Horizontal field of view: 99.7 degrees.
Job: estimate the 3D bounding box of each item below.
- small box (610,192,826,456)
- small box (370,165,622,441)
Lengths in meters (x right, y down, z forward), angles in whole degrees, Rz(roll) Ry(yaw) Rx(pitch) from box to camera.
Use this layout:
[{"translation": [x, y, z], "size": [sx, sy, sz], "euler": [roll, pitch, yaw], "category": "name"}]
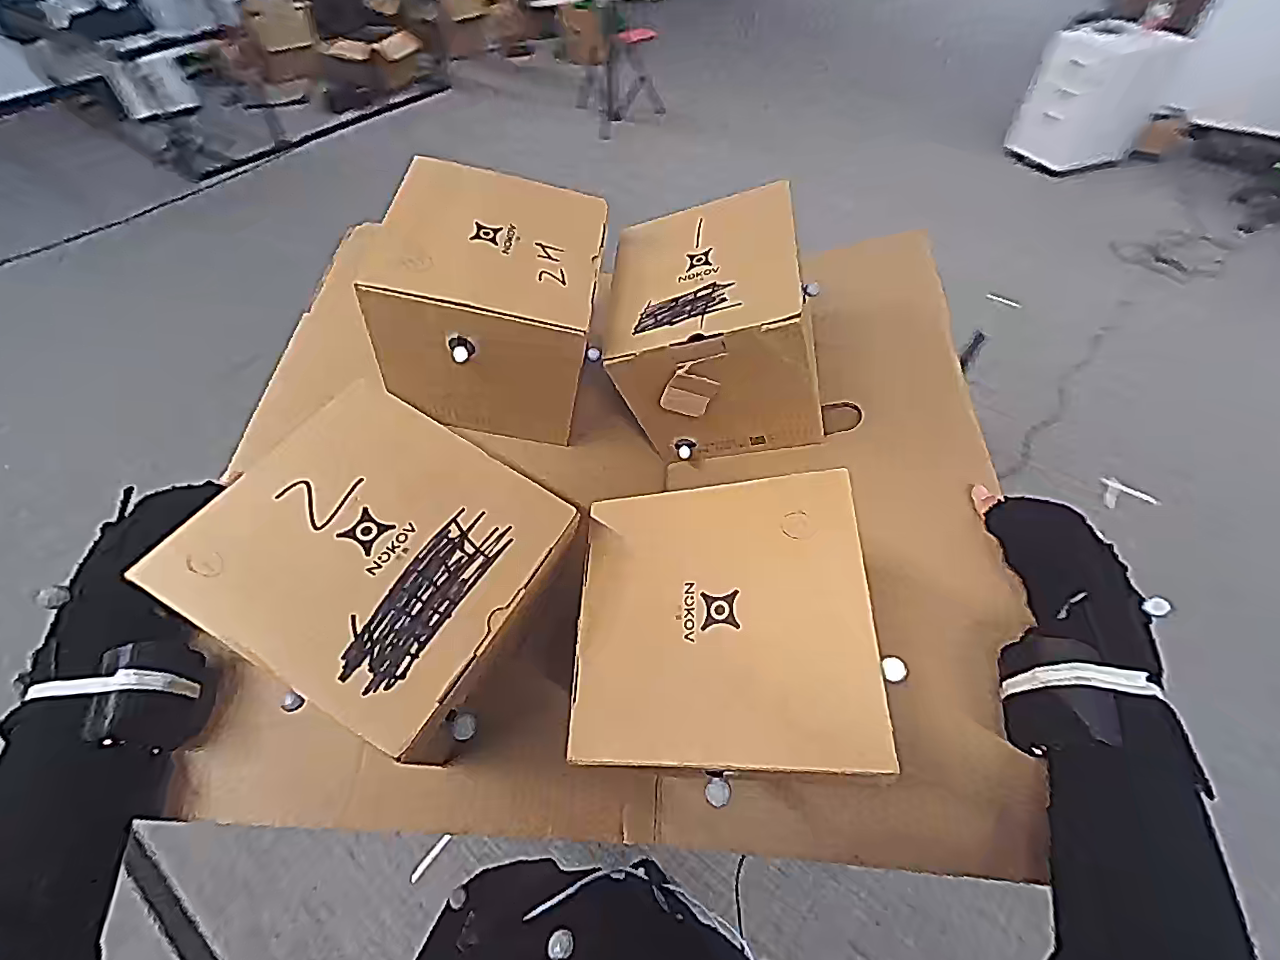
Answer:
[{"translation": [0.087, -0.136, 0.533], "size": [0.168, 0.176, 0.179], "euler": [-6, 57, 22], "category": "small box"}, {"translation": [-0.126, -0.157, 0.520], "size": [0.179, 0.176, 0.168], "euler": [12, 60, -8], "category": "small box"}]
